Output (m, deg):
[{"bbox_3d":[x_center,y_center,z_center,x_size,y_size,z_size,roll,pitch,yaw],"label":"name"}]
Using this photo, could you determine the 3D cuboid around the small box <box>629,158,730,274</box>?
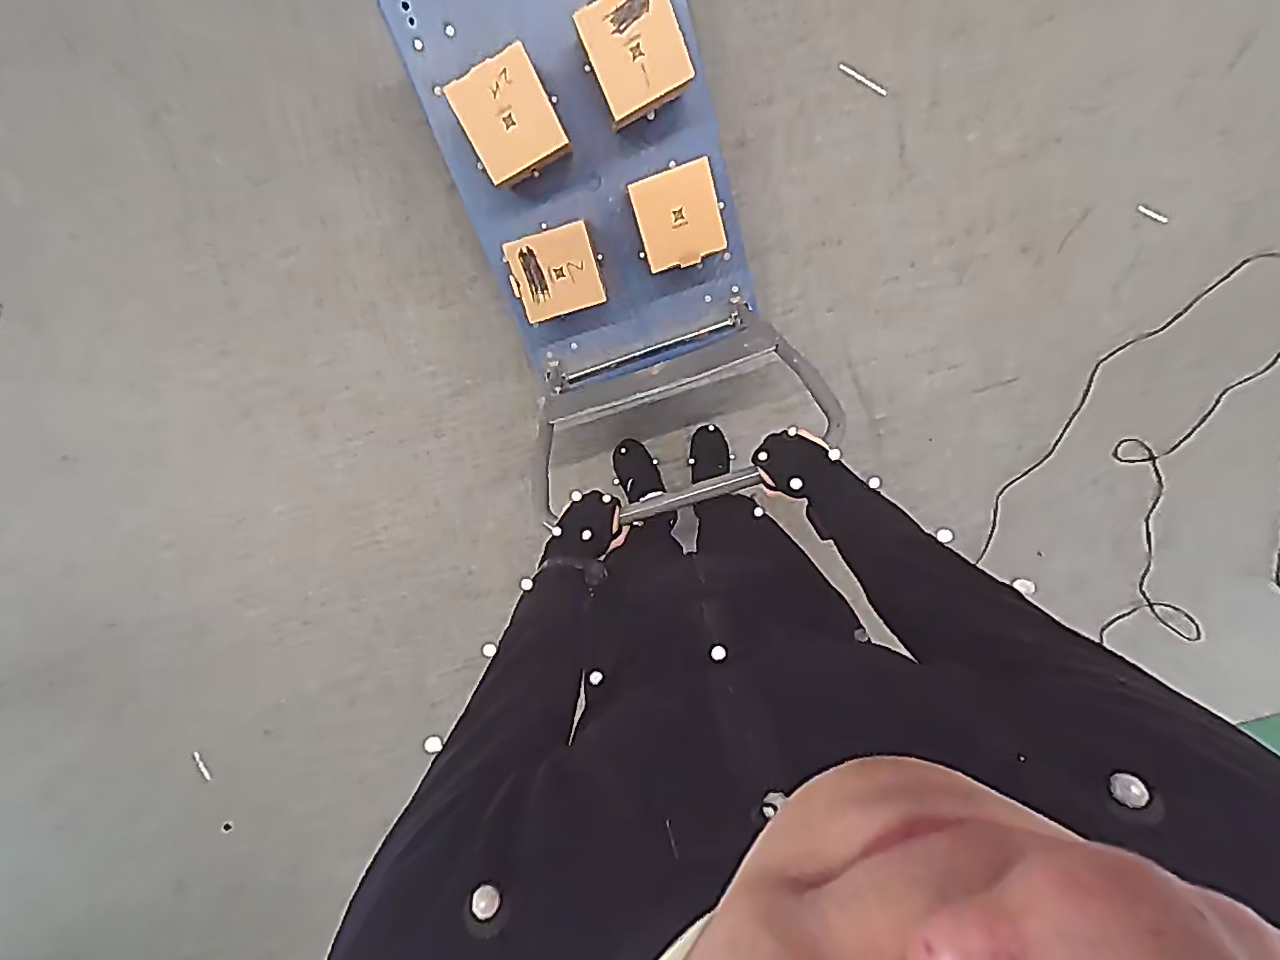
[{"bbox_3d":[0.079,-0.564,1.161,0.168,0.176,0.179,-18,117,5],"label":"small box"}]

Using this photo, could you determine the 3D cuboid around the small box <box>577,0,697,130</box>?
[{"bbox_3d":[-0.009,-0.804,1.033,0.168,0.176,0.179,-24,116,9],"label":"small box"}]

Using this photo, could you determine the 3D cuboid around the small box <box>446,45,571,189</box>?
[{"bbox_3d":[-0.246,-0.703,1.069,0.168,0.176,0.179,-25,116,8],"label":"small box"}]
